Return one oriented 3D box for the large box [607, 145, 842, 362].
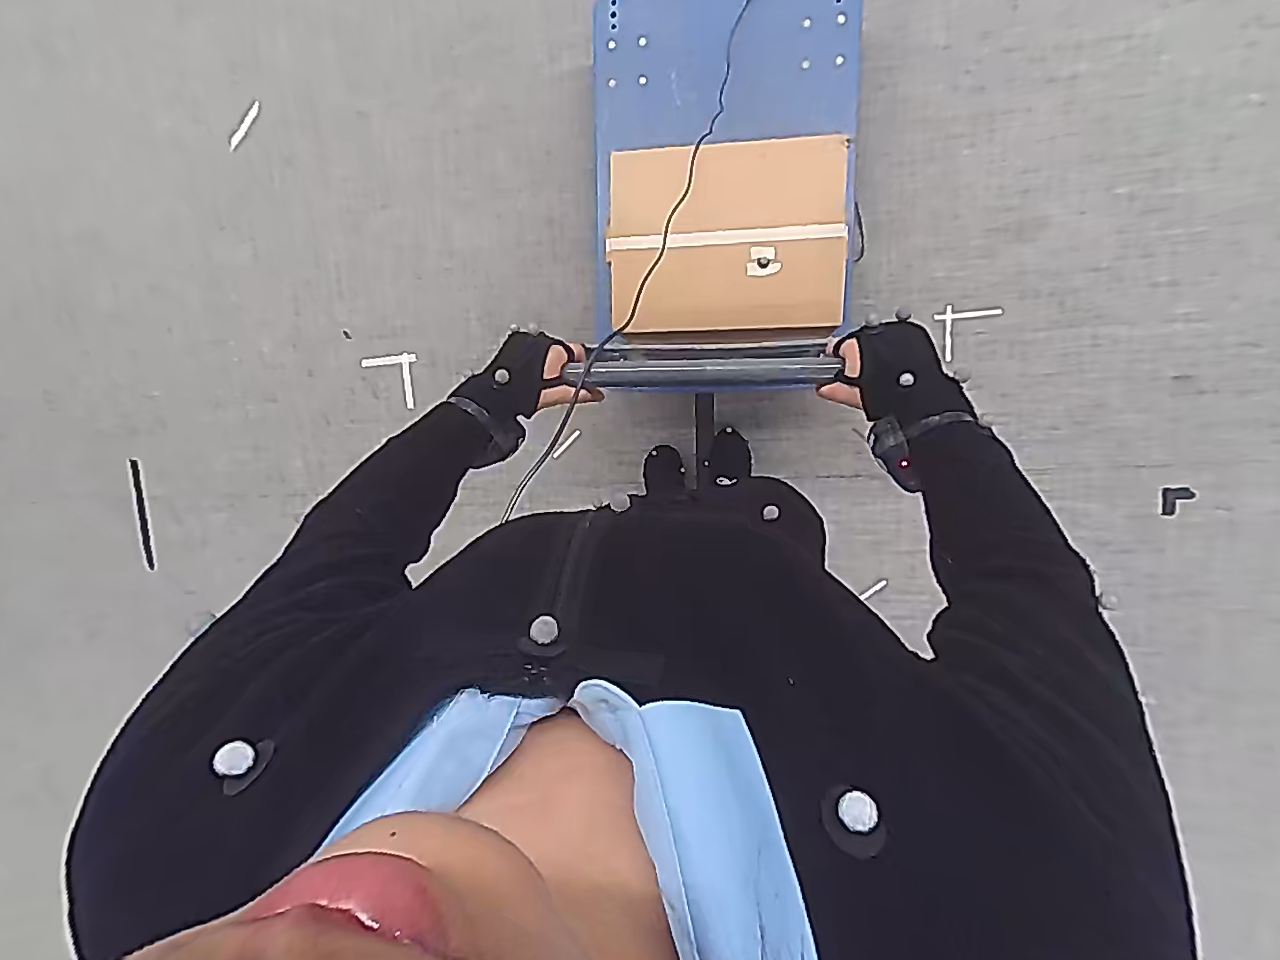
[{"bbox_3d":[0.160,-0.417,1.084,0.408,0.320,0.320,0,97,8],"label":"large box"}]
